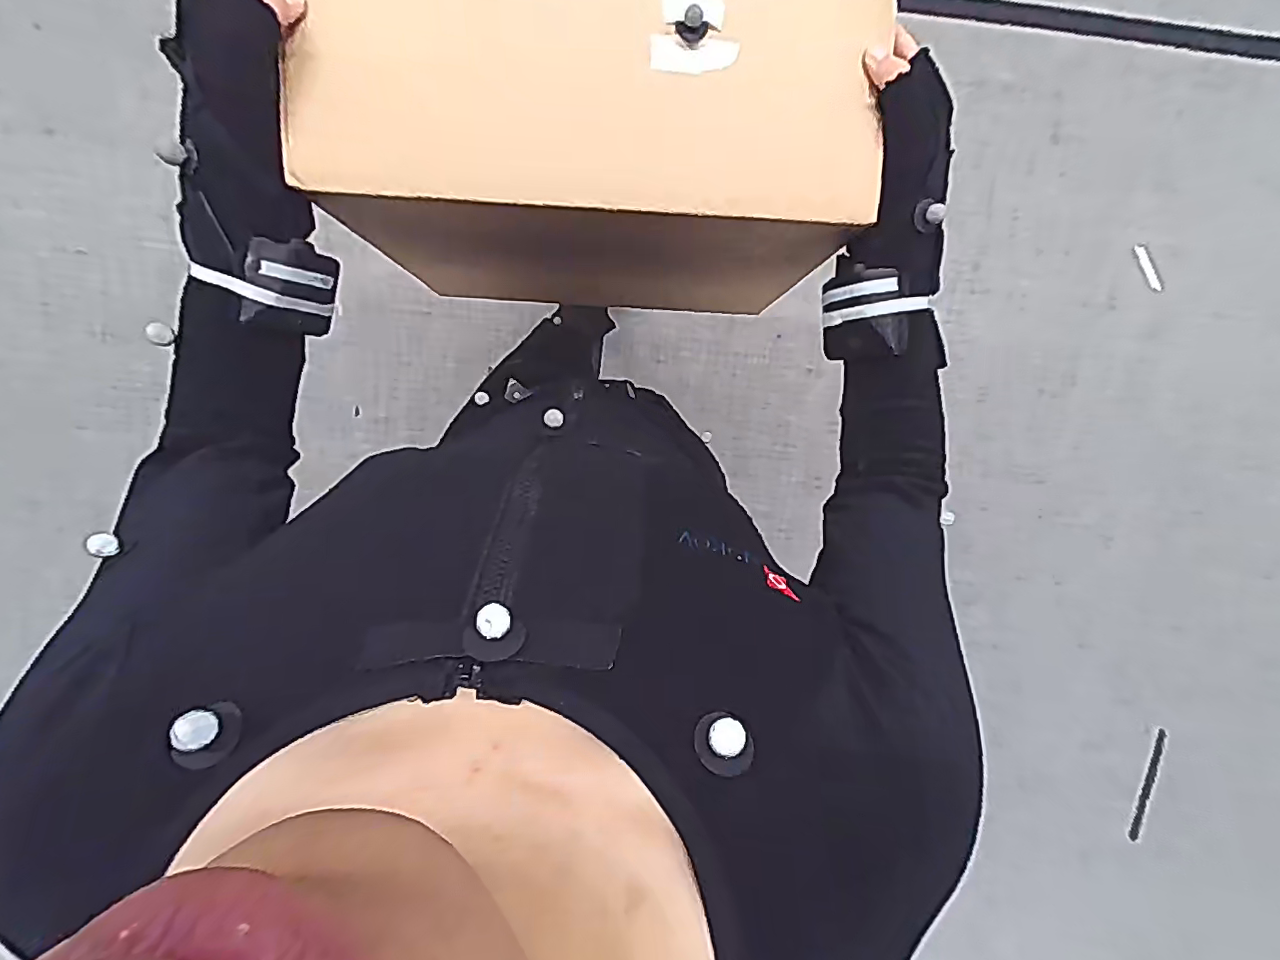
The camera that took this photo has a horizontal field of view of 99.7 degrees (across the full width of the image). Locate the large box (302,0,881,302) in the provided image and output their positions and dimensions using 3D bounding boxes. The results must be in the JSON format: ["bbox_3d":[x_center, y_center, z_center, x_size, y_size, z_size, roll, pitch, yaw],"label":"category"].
[{"bbox_3d":[-0.036,-0.368,0.517,0.408,0.320,0.320,2,95,-3],"label":"large box"}]
